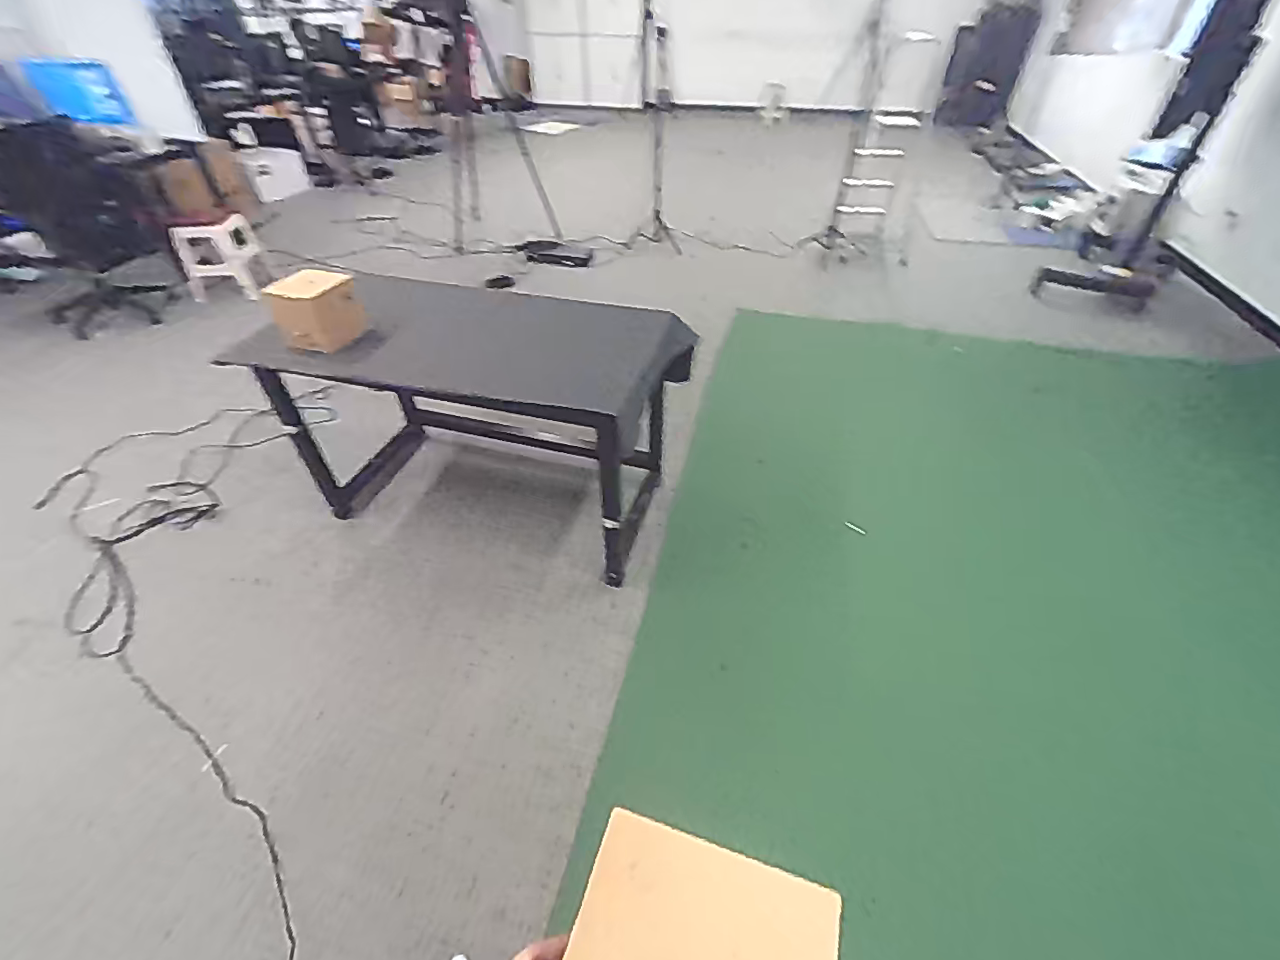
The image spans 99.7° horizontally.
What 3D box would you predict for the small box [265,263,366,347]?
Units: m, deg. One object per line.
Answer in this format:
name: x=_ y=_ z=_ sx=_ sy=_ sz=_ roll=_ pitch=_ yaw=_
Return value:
small box: x=-0.931 y=-0.511 z=1.576 sx=0.168 sy=0.176 sz=0.179 roll=13 pitch=43 yaw=13
